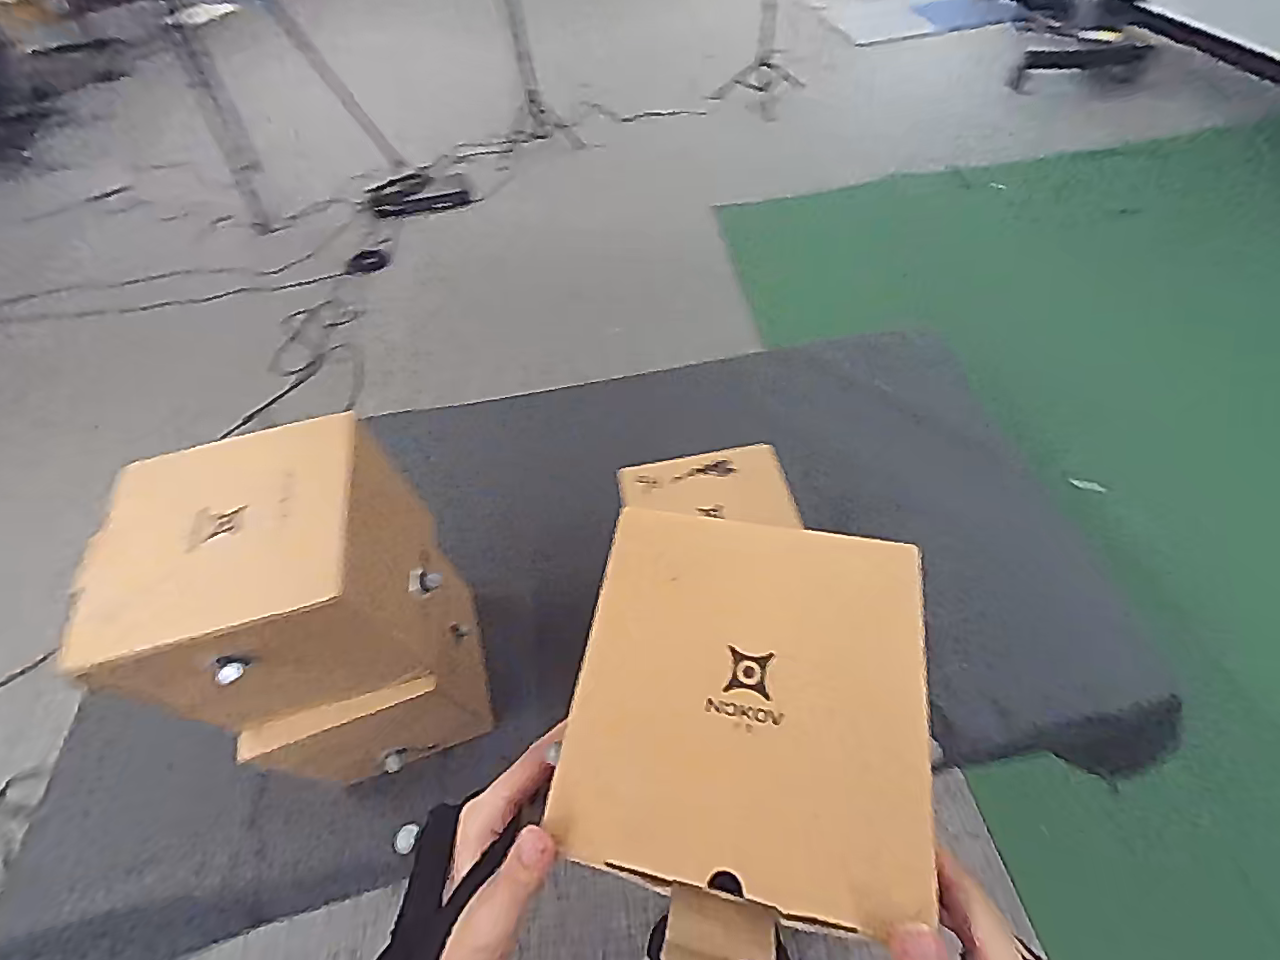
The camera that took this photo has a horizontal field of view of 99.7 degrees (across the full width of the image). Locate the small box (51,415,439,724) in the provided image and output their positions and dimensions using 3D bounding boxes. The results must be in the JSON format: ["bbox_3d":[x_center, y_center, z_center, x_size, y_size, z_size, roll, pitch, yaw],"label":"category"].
[{"bbox_3d":[-0.283,0.079,0.439,0.179,0.176,0.168,-15,56,-7],"label":"small box"}]

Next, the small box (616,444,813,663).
[{"bbox_3d":[0.073,0.090,0.598,0.168,0.176,0.179,-10,55,-2],"label":"small box"}]

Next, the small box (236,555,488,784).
[{"bbox_3d":[-0.272,0.187,0.561,0.168,0.176,0.179,-19,55,-8],"label":"small box"}]
